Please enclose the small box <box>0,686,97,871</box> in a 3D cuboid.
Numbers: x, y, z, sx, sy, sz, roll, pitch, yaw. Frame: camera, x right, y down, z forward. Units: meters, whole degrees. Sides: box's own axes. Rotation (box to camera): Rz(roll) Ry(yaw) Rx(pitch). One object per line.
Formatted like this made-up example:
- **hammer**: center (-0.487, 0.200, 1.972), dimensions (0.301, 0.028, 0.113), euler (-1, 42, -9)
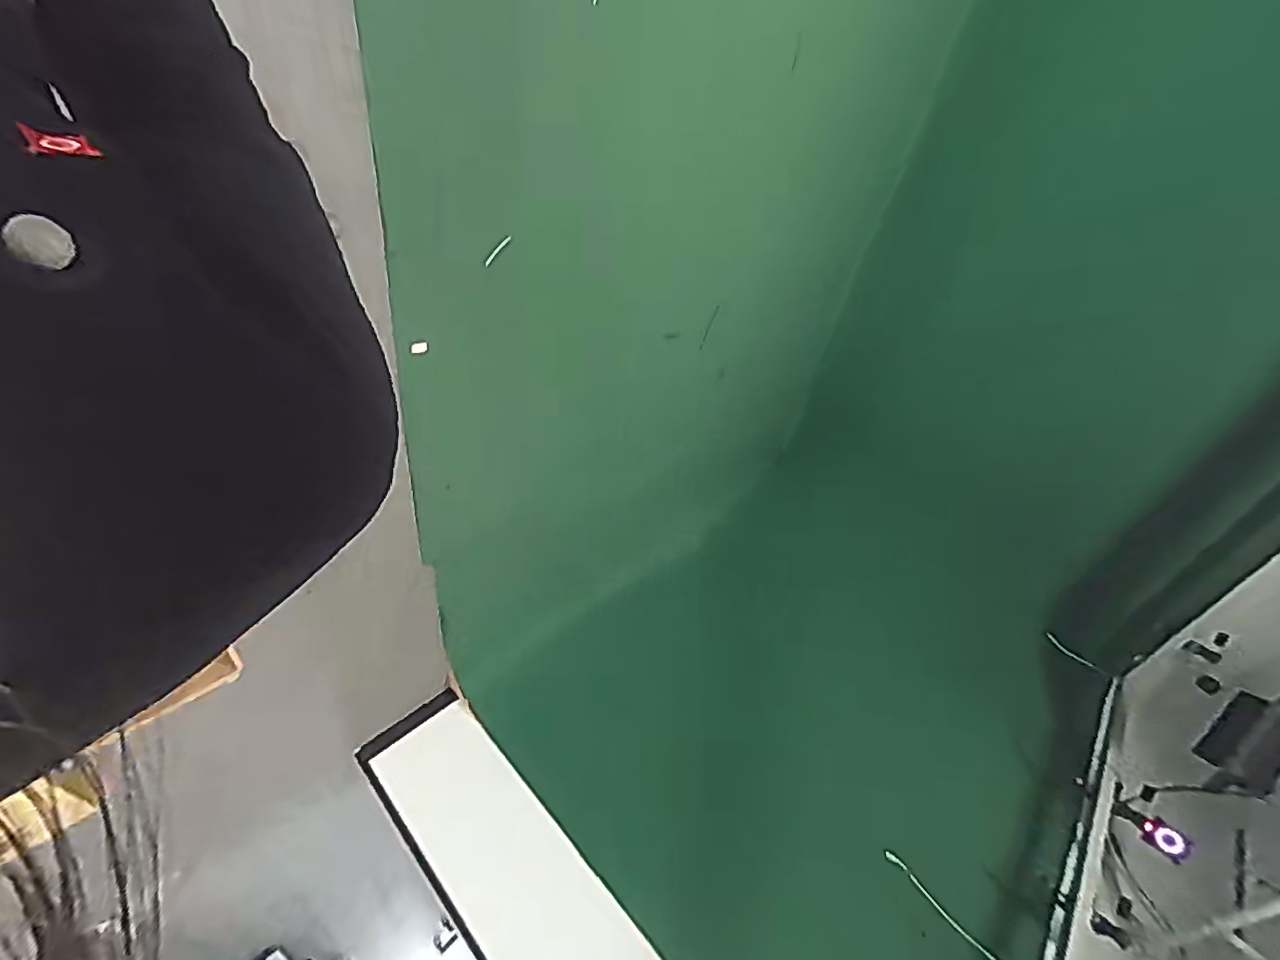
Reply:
- **small box**: center (-0.902, 0.416, 0.731), dimensions (0.168, 0.176, 0.179), euler (-33, 145, -35)
